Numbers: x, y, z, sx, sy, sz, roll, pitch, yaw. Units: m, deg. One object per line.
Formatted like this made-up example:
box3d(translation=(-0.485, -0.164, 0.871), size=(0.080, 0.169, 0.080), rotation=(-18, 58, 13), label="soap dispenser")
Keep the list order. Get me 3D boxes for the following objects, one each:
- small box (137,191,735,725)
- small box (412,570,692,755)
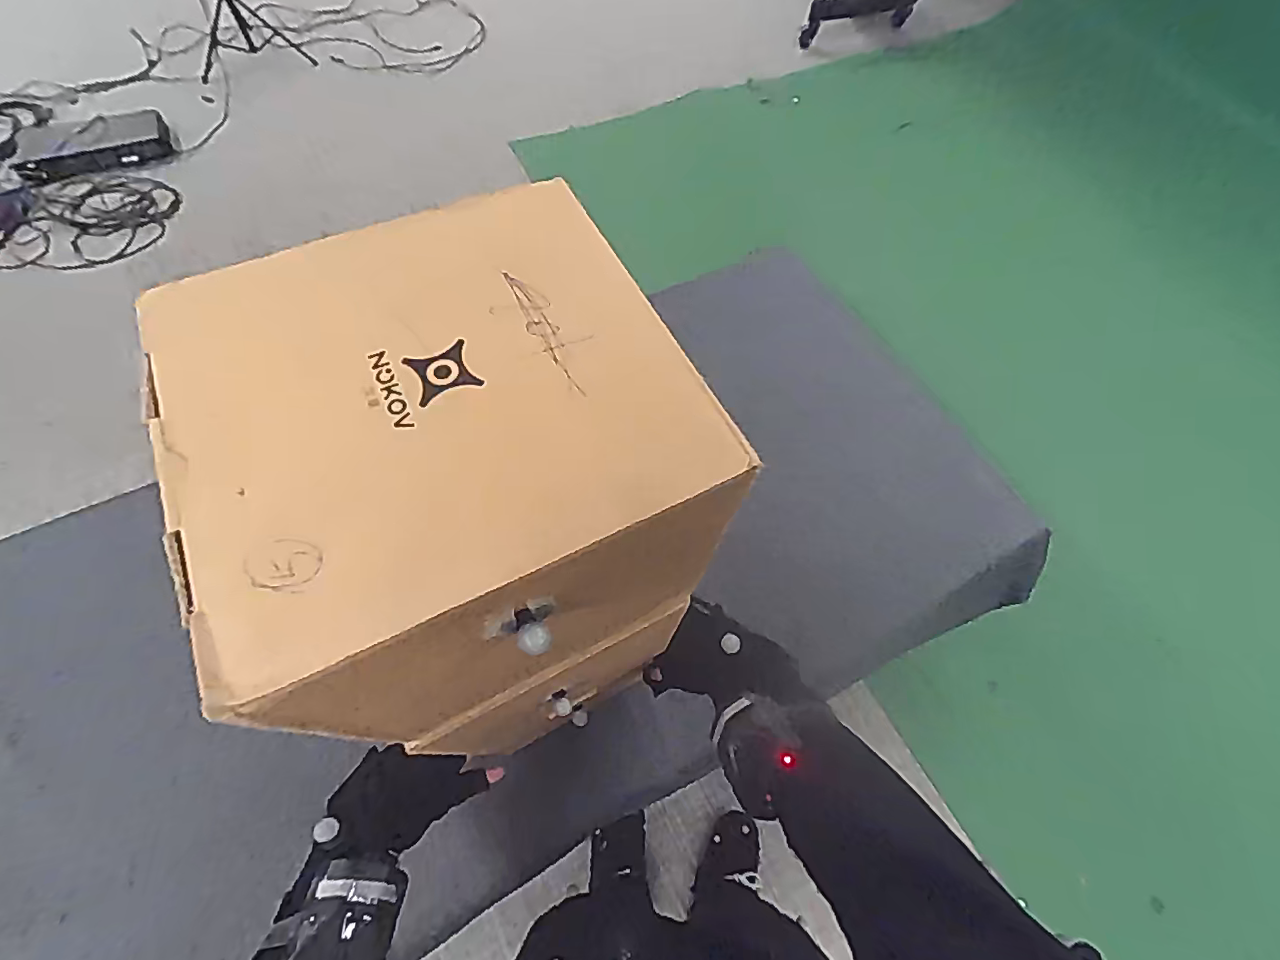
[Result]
box3d(translation=(-0.082, 0.002, 0.266), size=(0.179, 0.176, 0.168), rotation=(-24, 68, -15), label="small box")
box3d(translation=(-0.087, 0.081, 0.408), size=(0.179, 0.176, 0.168), rotation=(-27, 68, -17), label="small box")
